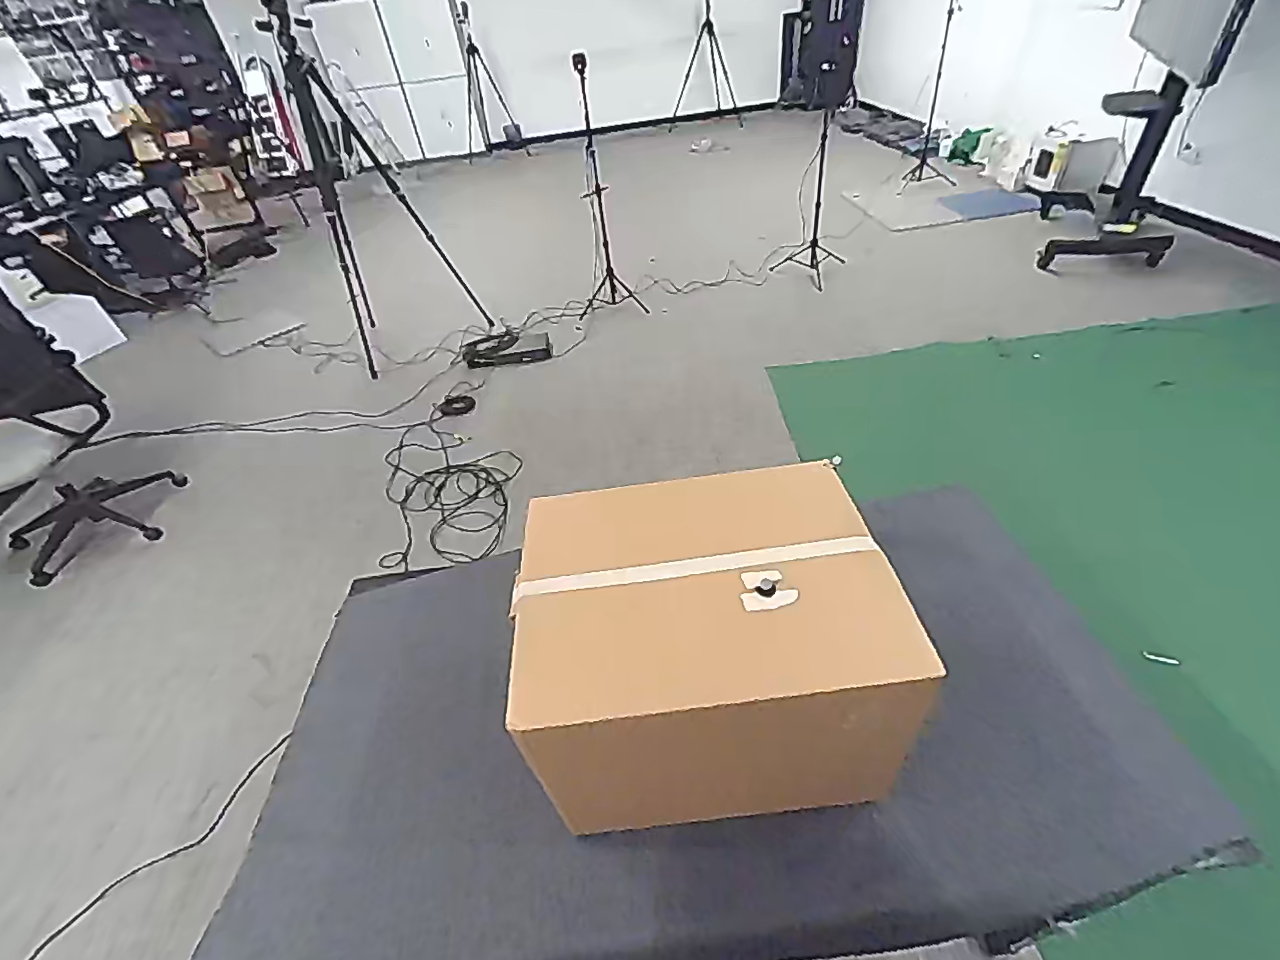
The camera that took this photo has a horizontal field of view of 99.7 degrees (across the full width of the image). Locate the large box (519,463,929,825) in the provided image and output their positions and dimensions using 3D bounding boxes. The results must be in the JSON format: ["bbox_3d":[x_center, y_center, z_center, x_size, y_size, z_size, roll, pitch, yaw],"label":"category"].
[{"bbox_3d":[0.080,0.214,0.718,0.408,0.320,0.320,-8,42,0],"label":"large box"}]
